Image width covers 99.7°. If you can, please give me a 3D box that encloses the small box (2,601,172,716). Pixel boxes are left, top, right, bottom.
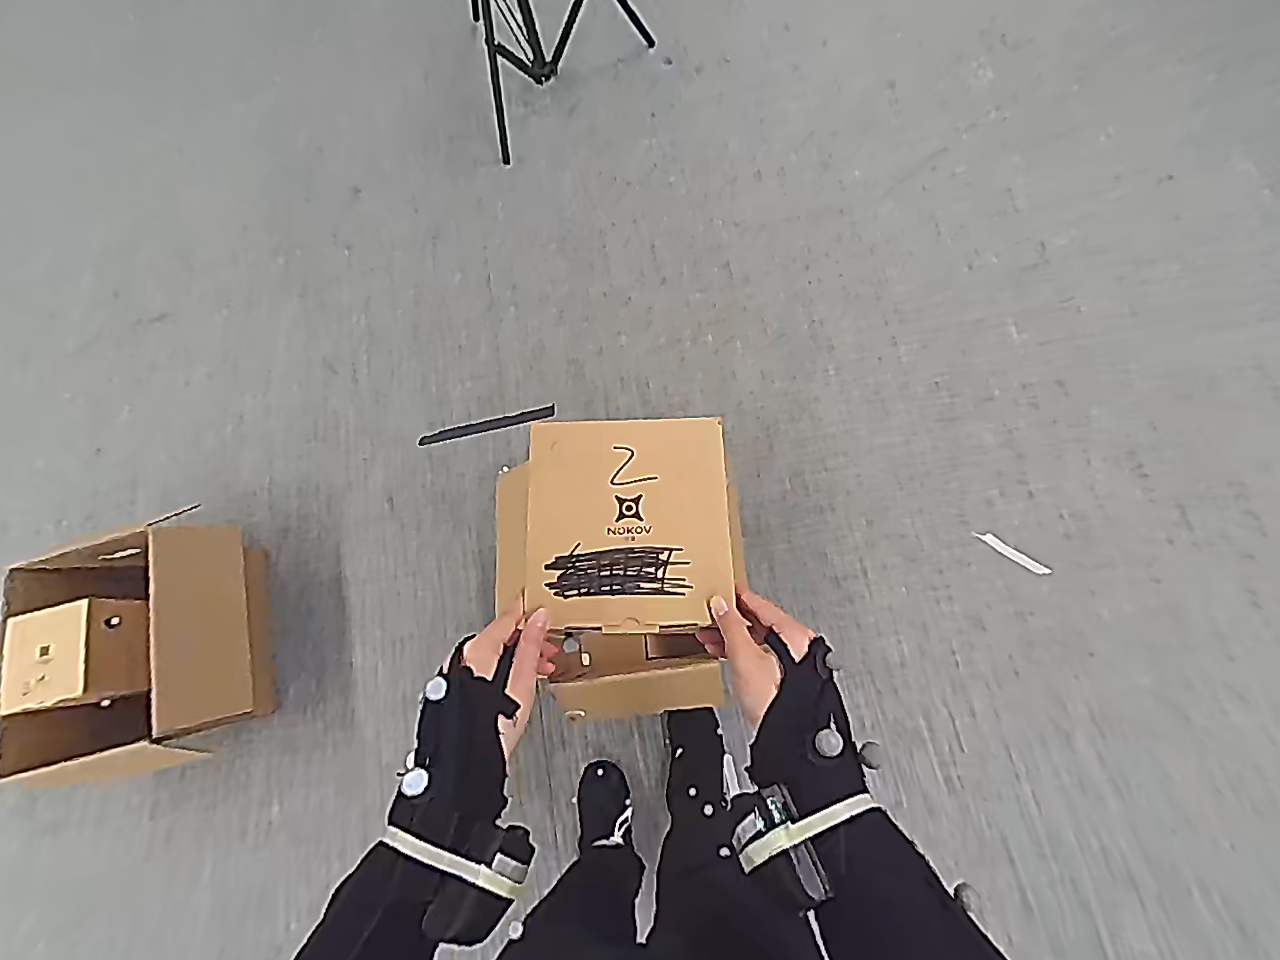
[{"bbox_3d":[-1.071,0.346,1.064,0.168,0.176,0.179,-14,75,3],"label":"small box"}]
